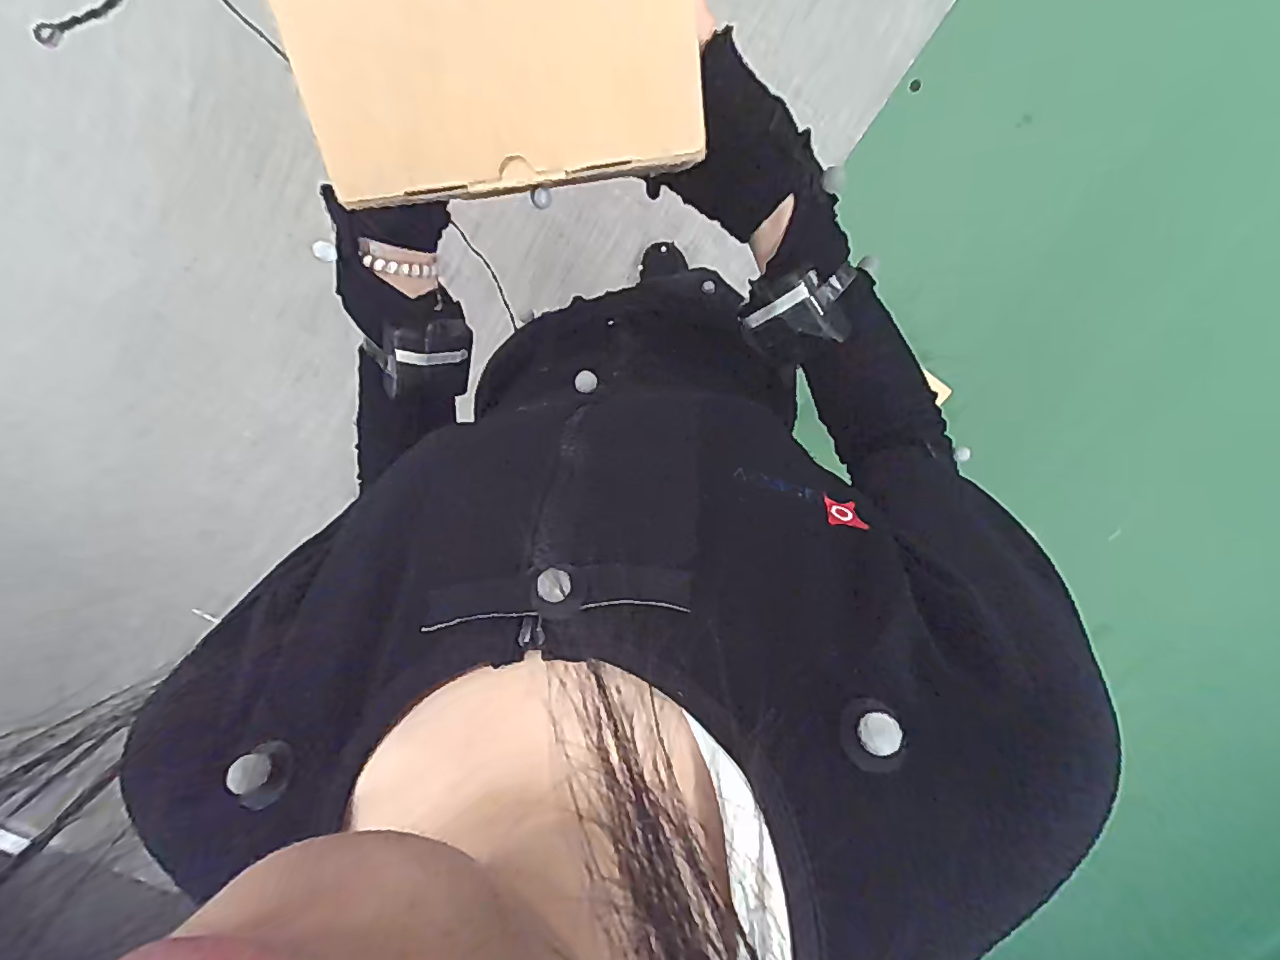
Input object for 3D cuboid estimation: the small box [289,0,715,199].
[{"bbox_3d":[-0.056,-0.248,0.267,0.168,0.176,0.179,-5,120,5],"label":"small box"}]
